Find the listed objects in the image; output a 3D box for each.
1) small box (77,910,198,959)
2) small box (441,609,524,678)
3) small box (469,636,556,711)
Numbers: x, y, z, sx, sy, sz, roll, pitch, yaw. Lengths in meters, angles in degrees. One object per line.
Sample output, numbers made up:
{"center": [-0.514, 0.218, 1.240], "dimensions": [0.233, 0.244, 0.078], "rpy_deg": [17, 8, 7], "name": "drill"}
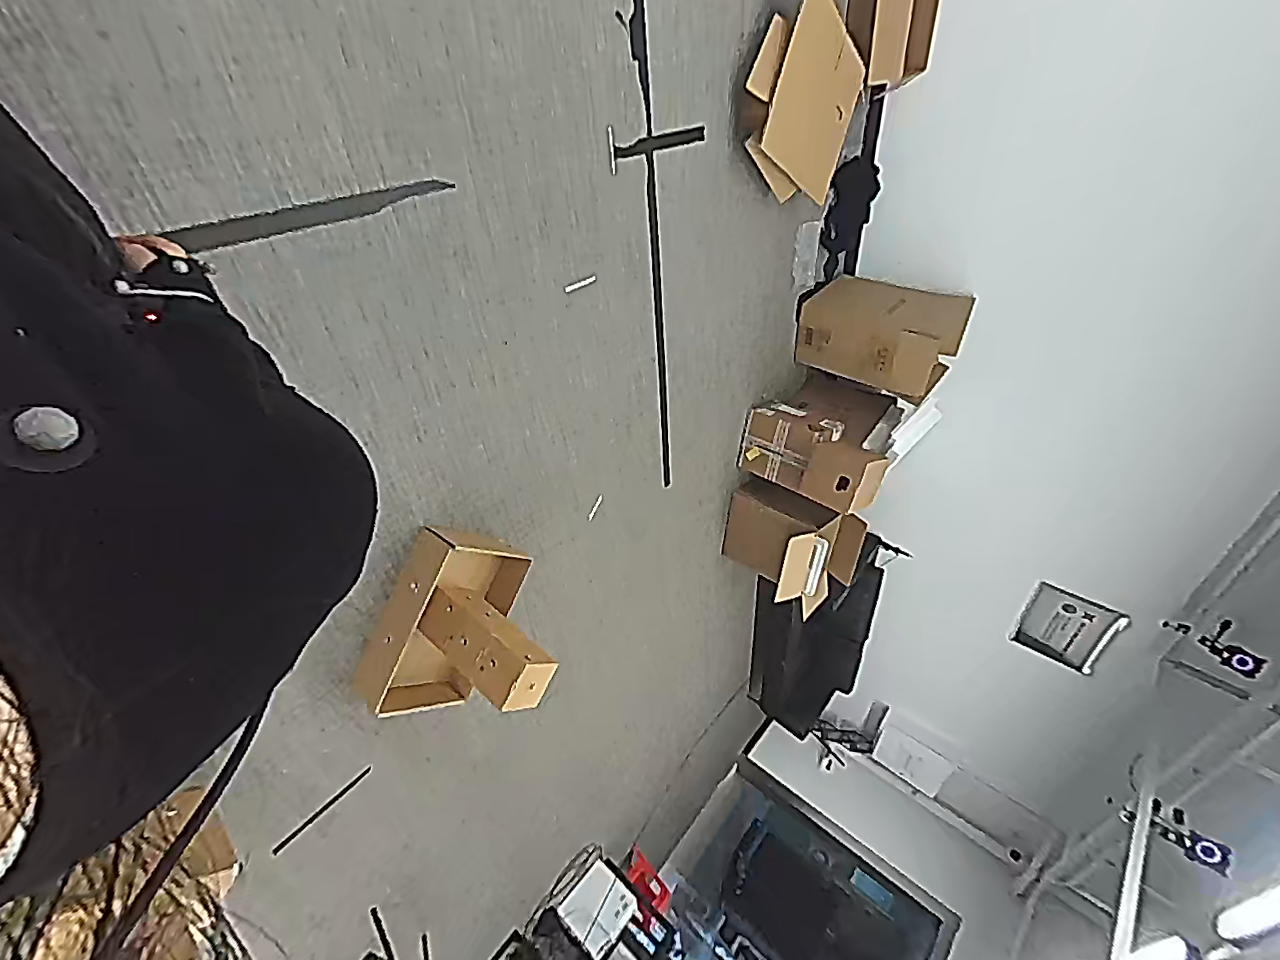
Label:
{"center": [-1.137, 1.105, 1.195], "dimensions": [0.179, 0.176, 0.168], "rpy_deg": [-62, 146, -3], "name": "small box"}
{"center": [-0.539, 0.554, 1.838], "dimensions": [0.168, 0.176, 0.179], "rpy_deg": [-62, 147, -2], "name": "small box"}
{"center": [-0.414, 0.623, 1.757], "dimensions": [0.179, 0.176, 0.168], "rpy_deg": [29, 88, -58], "name": "small box"}
